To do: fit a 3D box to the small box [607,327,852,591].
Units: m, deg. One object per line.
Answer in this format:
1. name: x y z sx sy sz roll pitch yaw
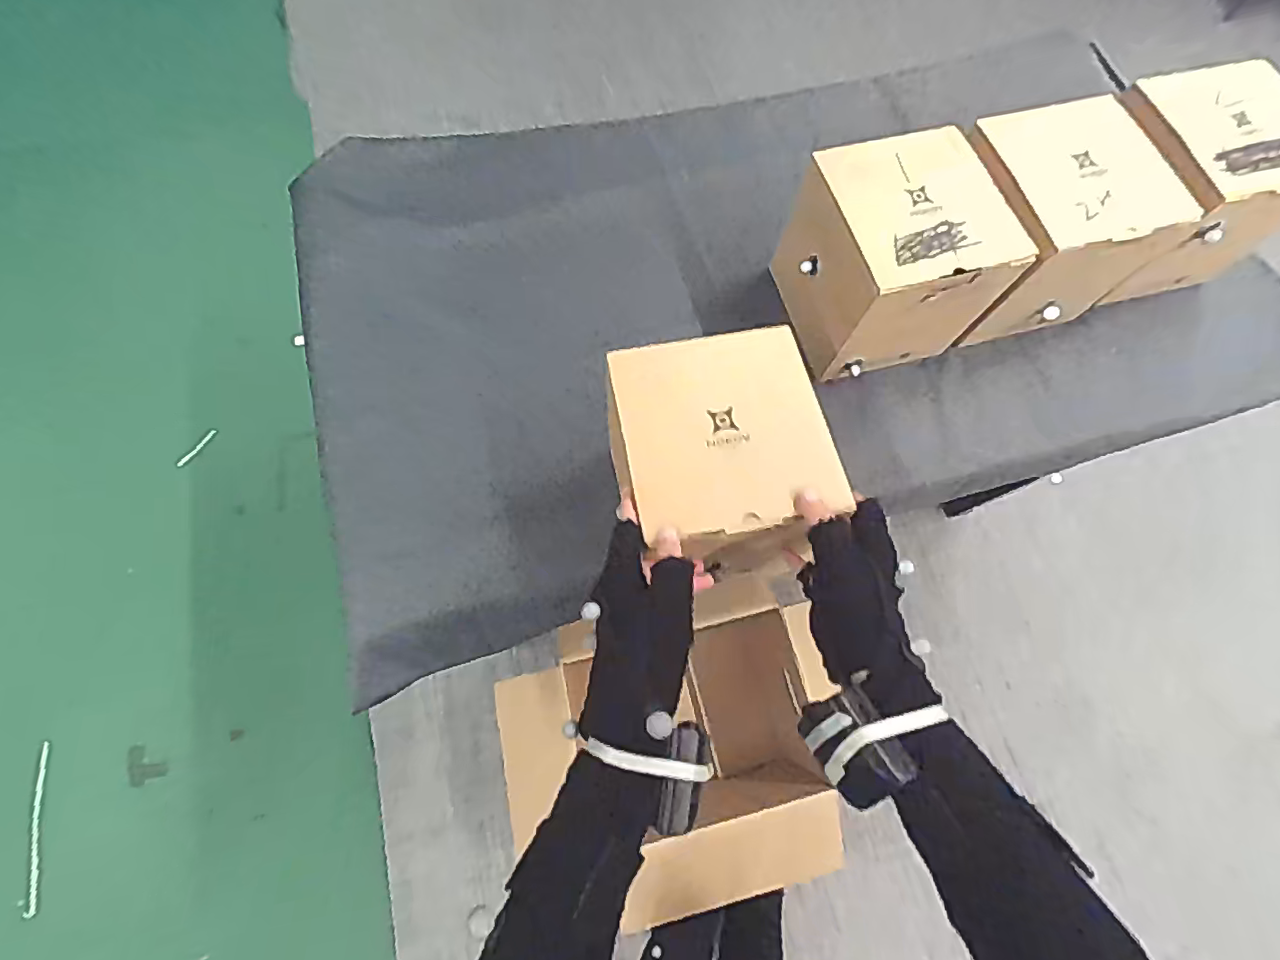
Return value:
1. small box: 0.063 -0.012 0.505 0.168 0.176 0.179 -10 67 -5
